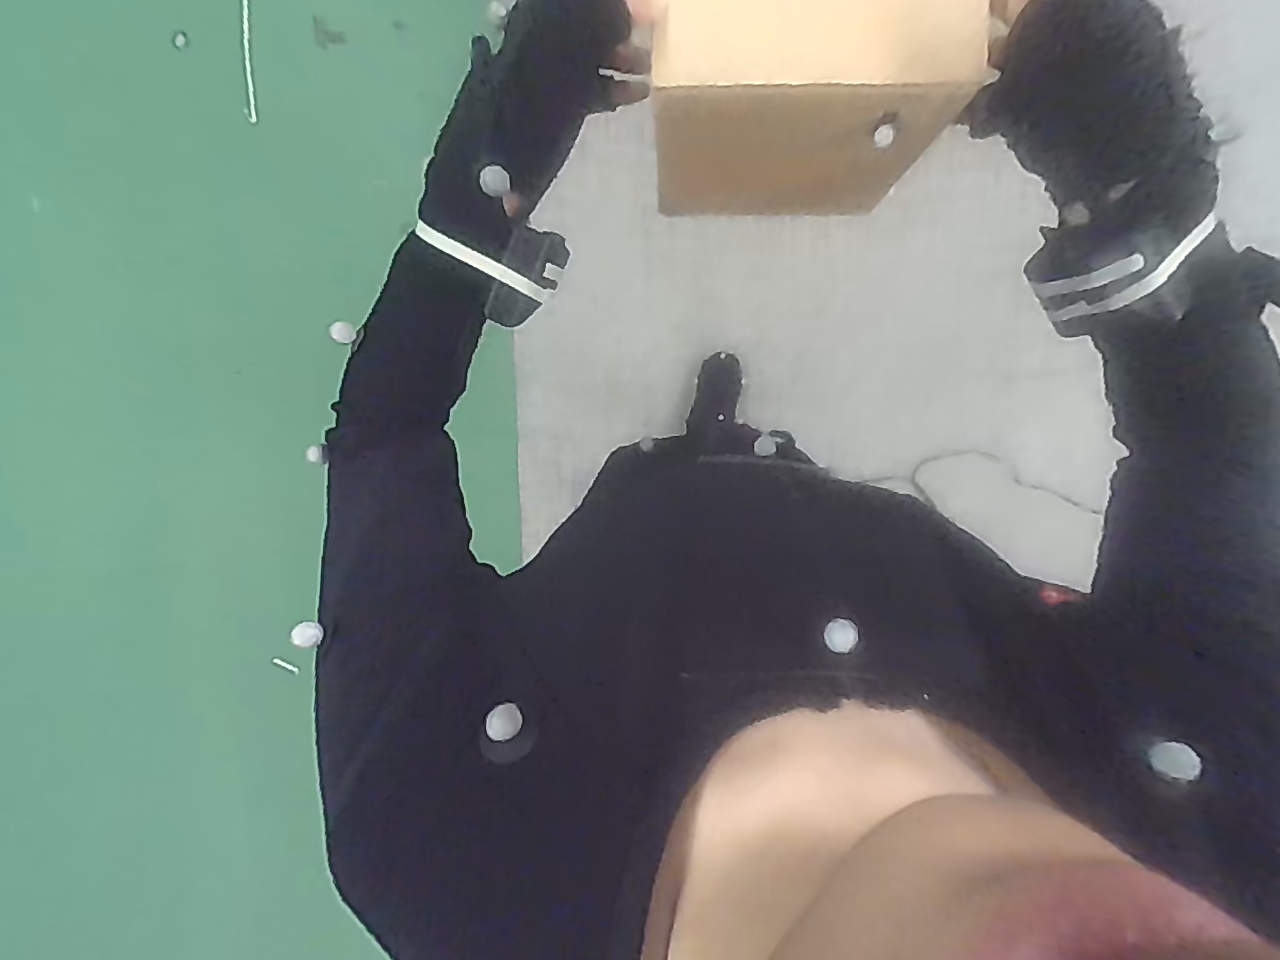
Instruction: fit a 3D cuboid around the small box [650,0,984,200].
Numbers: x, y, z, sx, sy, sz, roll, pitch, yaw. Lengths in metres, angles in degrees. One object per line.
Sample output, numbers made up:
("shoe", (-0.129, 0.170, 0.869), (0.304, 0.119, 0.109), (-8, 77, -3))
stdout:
("small box", (0.097, -0.306, 0.362), (0.179, 0.176, 0.168), (1, 95, 2))
